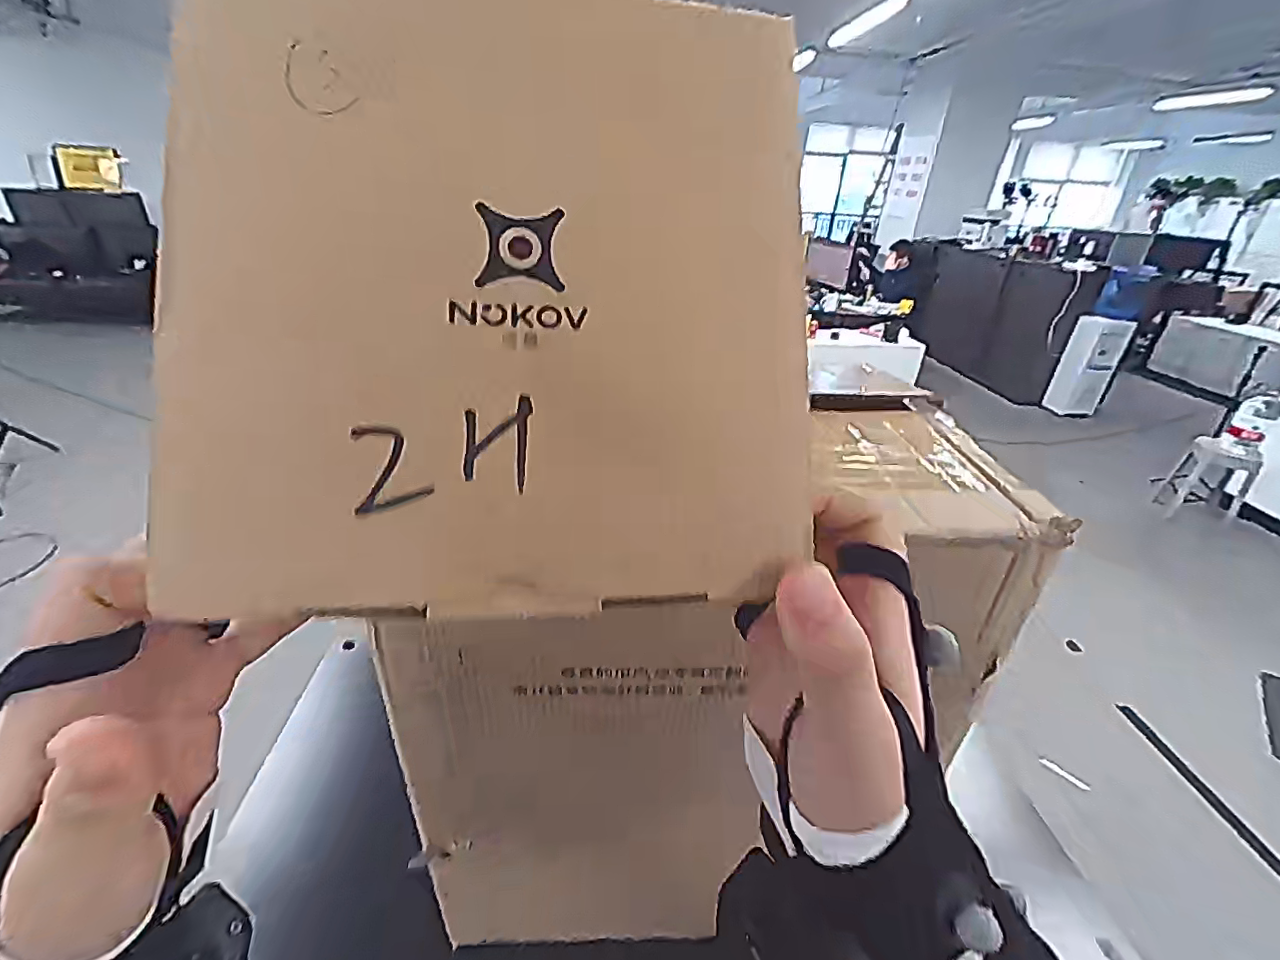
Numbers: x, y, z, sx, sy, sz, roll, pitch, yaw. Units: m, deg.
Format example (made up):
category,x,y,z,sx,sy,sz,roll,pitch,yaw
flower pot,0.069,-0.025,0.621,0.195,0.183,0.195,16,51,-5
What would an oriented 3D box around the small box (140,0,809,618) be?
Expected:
category,x,y,z,sx,sy,sz,roll,pitch,yaw
small box,-0.048,-0.048,0.222,0.168,0.179,0.176,0,-3,-10
